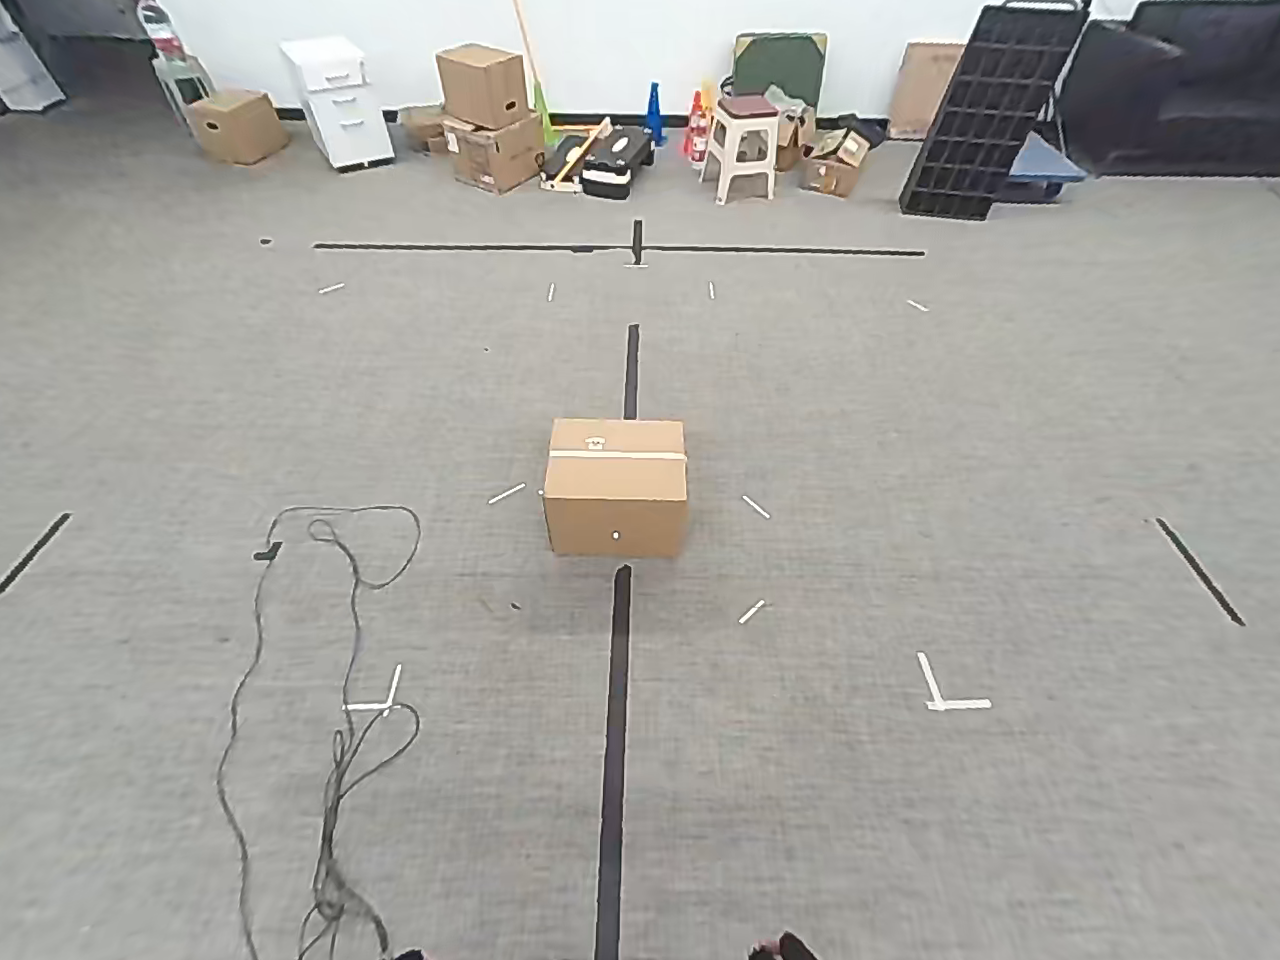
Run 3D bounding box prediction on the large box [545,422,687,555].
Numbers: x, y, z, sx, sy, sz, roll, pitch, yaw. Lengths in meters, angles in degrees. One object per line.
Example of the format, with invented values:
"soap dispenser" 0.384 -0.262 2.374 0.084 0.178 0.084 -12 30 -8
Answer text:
"large box" -0.067 0.031 1.716 0.408 0.320 0.320 1 50 0
